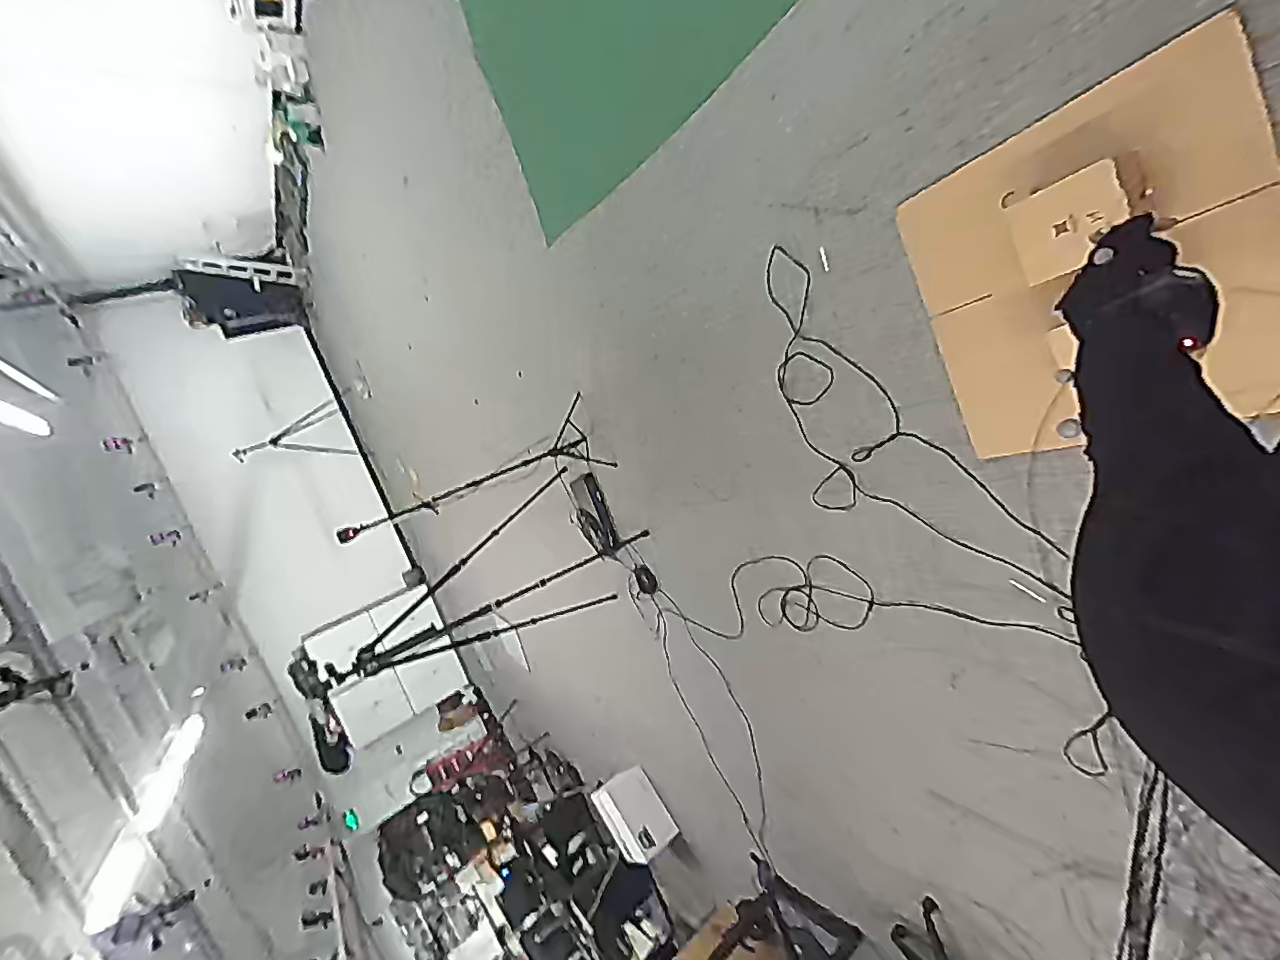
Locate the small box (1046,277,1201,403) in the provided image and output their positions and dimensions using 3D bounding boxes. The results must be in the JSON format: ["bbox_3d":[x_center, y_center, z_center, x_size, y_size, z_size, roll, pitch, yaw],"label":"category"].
[{"bbox_3d":[0.960,-0.277,1.069,0.179,0.176,0.168,-23,93,58],"label":"small box"}]

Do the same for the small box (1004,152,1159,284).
[{"bbox_3d":[0.861,-0.508,1.056,0.179,0.176,0.168,-15,101,56],"label":"small box"}]
